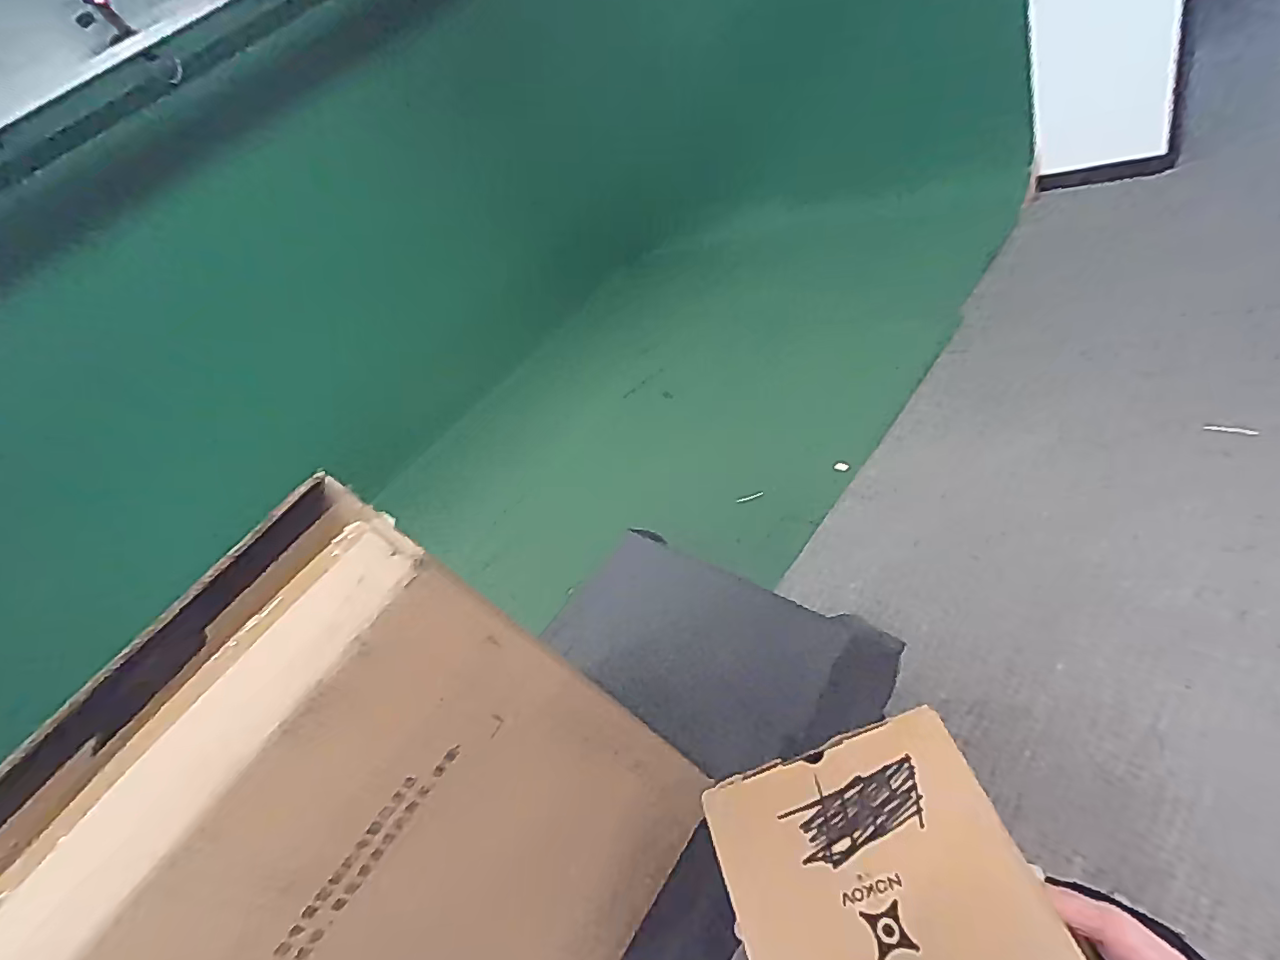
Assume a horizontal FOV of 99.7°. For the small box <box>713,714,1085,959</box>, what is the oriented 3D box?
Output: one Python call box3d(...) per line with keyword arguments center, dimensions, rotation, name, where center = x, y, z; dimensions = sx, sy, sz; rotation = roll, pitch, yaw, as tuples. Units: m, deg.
box3d(center=(0.170, 0.291, 0.366), dimensions=(0.168, 0.176, 0.179), rotation=(-26, 49, 8), name="small box")
